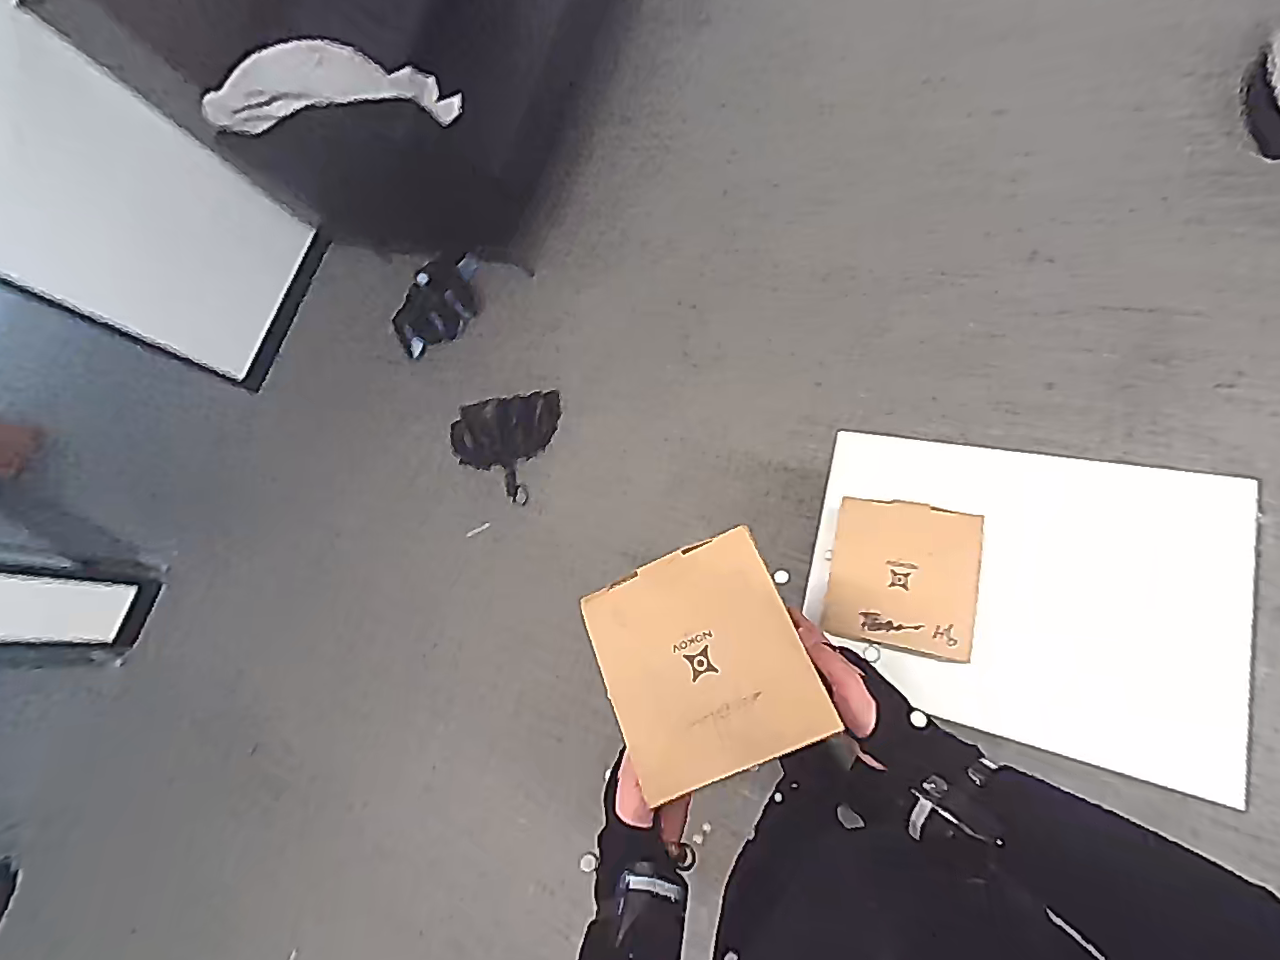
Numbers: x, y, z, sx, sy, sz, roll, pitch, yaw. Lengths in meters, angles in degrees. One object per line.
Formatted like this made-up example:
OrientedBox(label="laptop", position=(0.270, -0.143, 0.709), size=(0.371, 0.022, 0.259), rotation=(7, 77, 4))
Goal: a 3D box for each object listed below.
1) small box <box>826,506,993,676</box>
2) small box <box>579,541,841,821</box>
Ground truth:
OrientedBox(label="small box", position=(0.352, 0.150, 0.724), size=(0.168, 0.176, 0.179), rotation=(9, 77, 25))
OrientedBox(label="small box", position=(0.068, 0.183, 0.513), size=(0.168, 0.176, 0.179), rotation=(-26, 66, 7))
